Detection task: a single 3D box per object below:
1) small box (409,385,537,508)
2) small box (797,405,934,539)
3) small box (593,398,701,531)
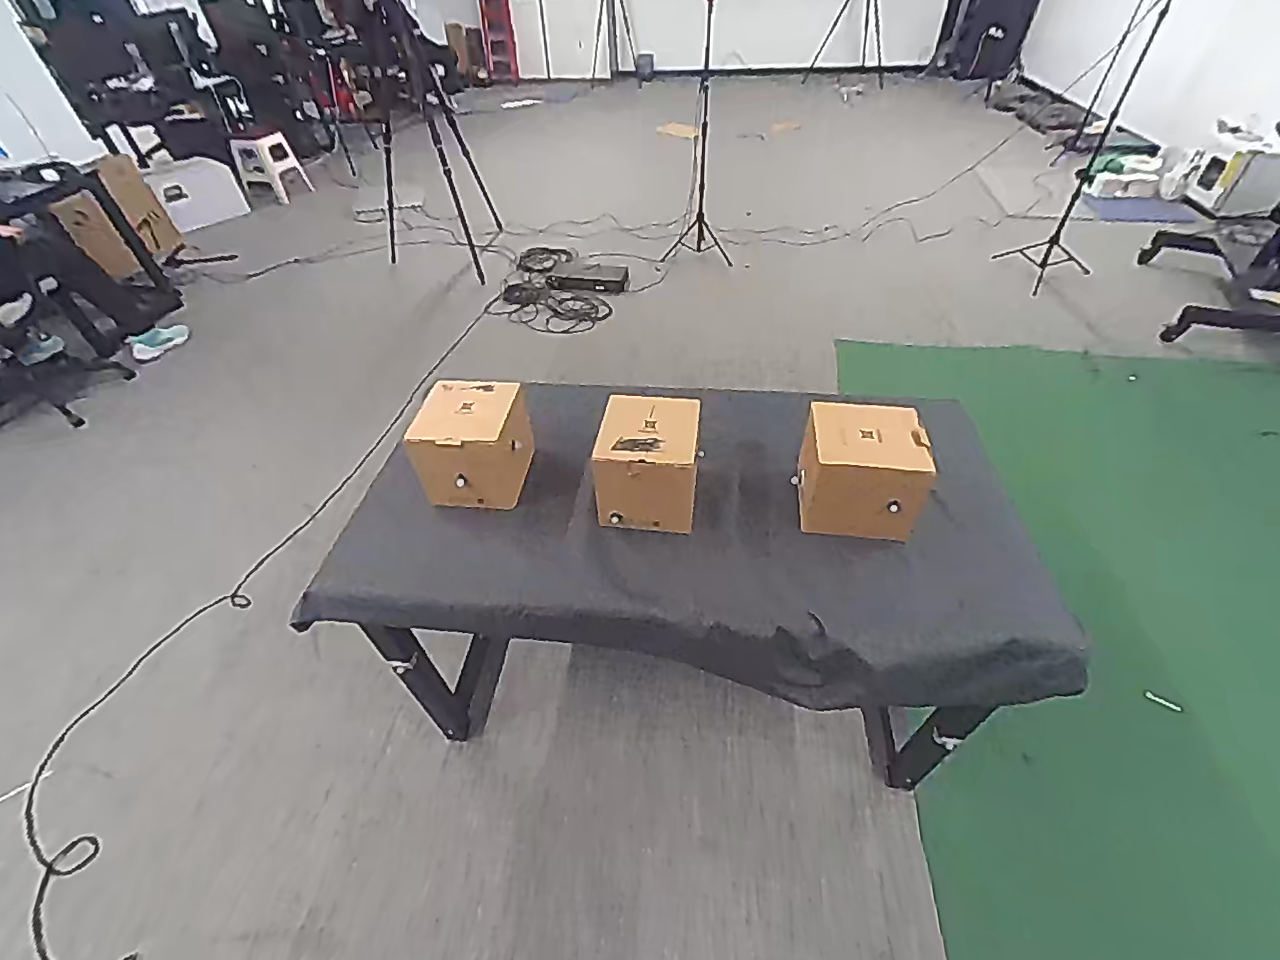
[{"bbox_3d":[-0.304,-0.062,1.032,0.168,0.176,0.179,2,46,5],"label":"small box"},{"bbox_3d":[0.380,-0.012,0.945,0.179,0.176,0.168,3,44,9],"label":"small box"},{"bbox_3d":[0.021,-0.027,0.977,0.168,0.176,0.179,4,44,8],"label":"small box"}]
